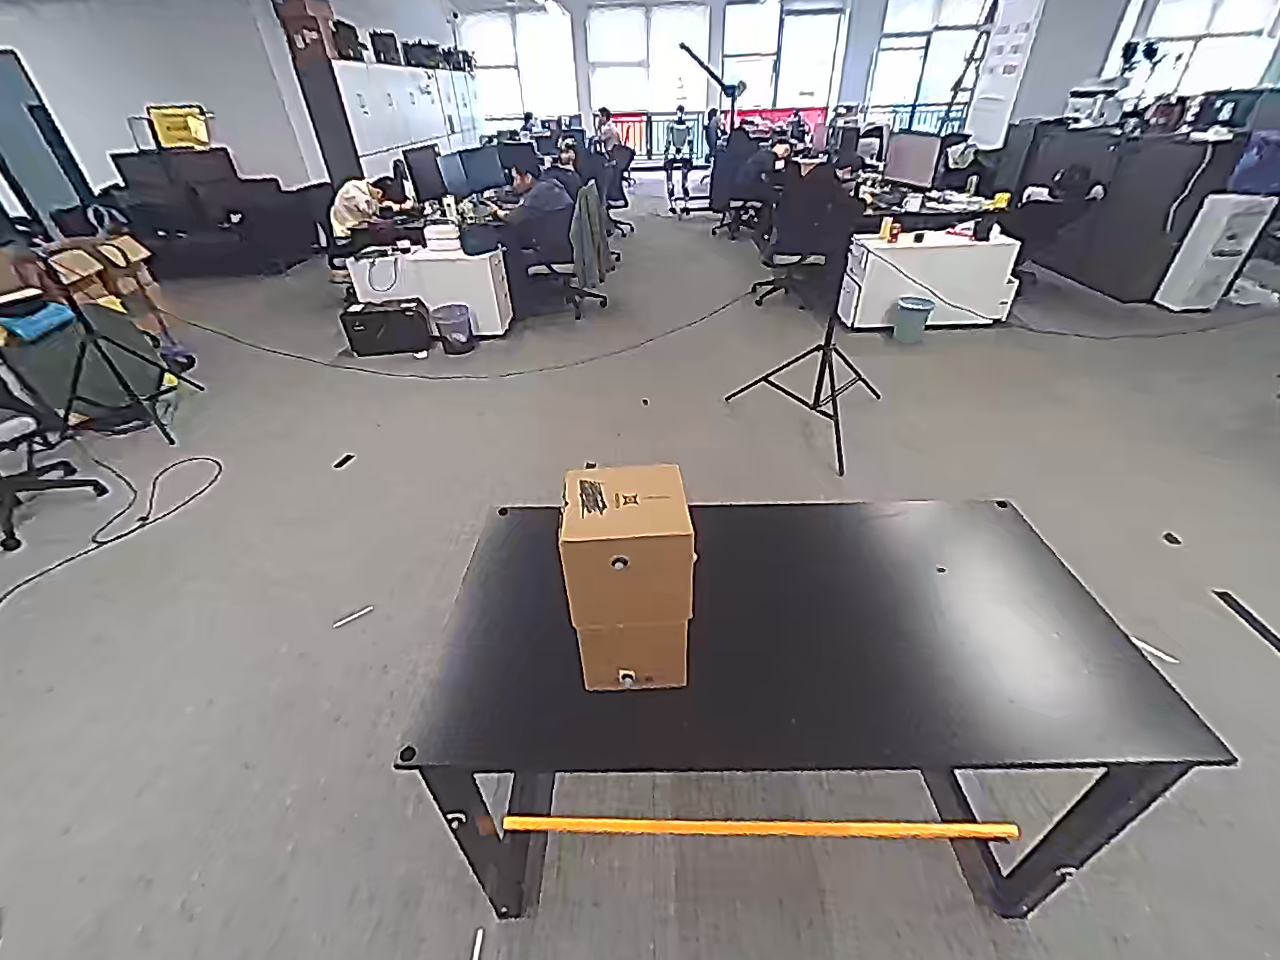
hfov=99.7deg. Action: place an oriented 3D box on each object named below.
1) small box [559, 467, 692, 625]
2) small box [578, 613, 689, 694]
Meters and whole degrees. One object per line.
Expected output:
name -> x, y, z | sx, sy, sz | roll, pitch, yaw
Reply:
small box -> -0.018, 0.099, 0.806 | 0.179, 0.176, 0.168 | -4, 36, -2
small box -> -0.011, 0.230, 0.905 | 0.168, 0.176, 0.179 | -4, 37, -1
